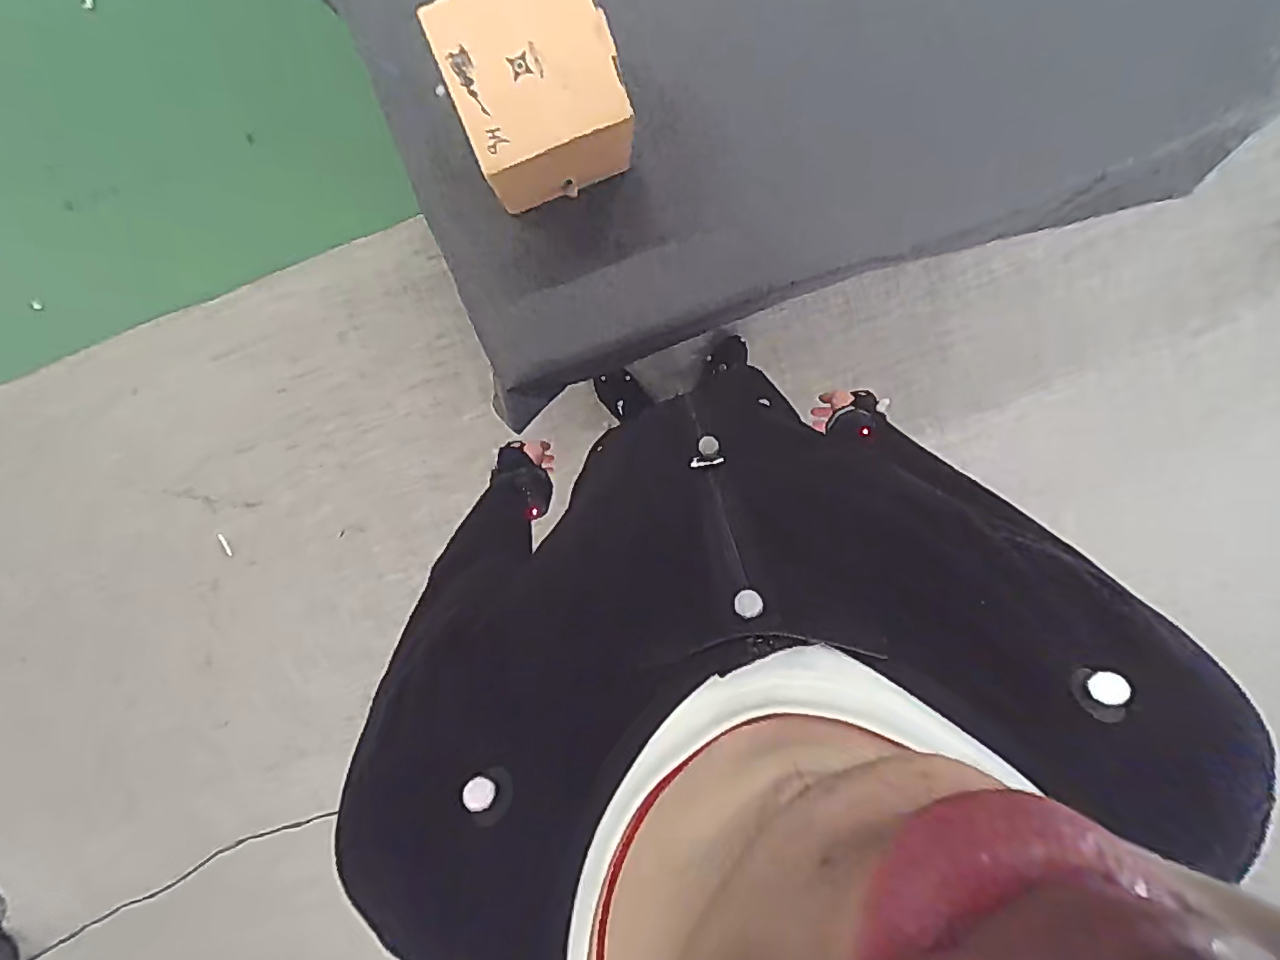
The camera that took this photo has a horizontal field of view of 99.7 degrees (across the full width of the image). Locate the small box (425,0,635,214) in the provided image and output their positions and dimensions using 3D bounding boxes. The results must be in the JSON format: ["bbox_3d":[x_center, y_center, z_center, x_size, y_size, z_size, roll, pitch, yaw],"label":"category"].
[{"bbox_3d":[-0.119,-0.447,0.645,0.179,0.176,0.168,-21,103,1],"label":"small box"}]
